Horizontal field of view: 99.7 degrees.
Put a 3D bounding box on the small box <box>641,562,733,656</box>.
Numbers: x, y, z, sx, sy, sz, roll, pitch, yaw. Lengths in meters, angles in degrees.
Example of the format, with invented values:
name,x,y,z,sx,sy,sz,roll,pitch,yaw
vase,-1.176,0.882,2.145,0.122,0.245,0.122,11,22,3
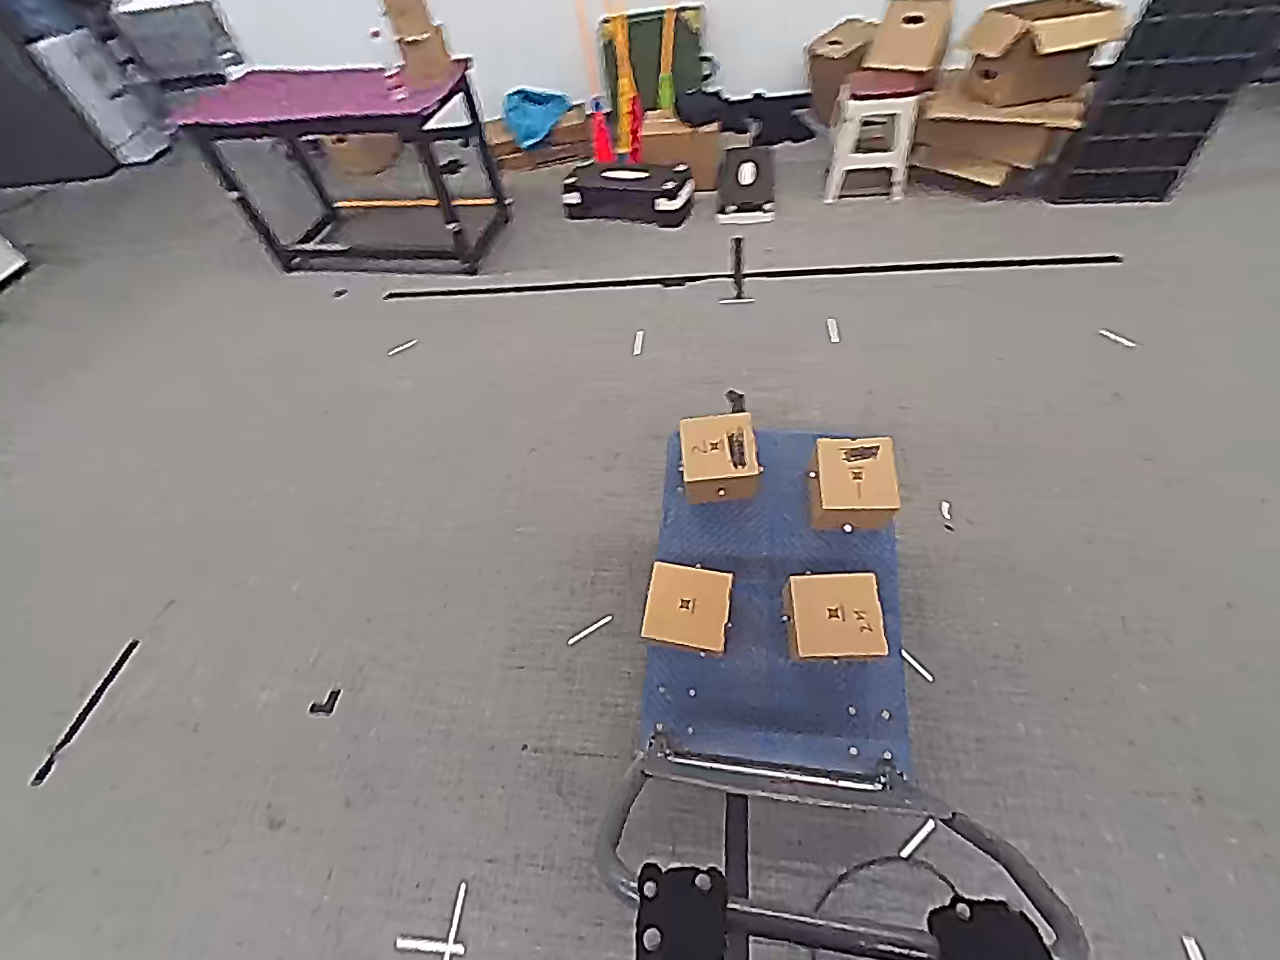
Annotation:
name,x,y,z,sx,sy,sz,roll,pitch,yaw
small box,0.112,0.299,1.230,0.179,0.176,0.168,8,69,11

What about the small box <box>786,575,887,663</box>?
name,x,y,z,sx,sy,sz,roll,pitch,yaw
small box,0.416,0.307,1.178,0.179,0.176,0.168,-3,68,8

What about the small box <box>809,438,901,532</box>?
name,x,y,z,sx,sy,sz,roll,pitch,yaw
small box,0.500,0.015,1.284,0.168,0.176,0.179,-1,69,9
